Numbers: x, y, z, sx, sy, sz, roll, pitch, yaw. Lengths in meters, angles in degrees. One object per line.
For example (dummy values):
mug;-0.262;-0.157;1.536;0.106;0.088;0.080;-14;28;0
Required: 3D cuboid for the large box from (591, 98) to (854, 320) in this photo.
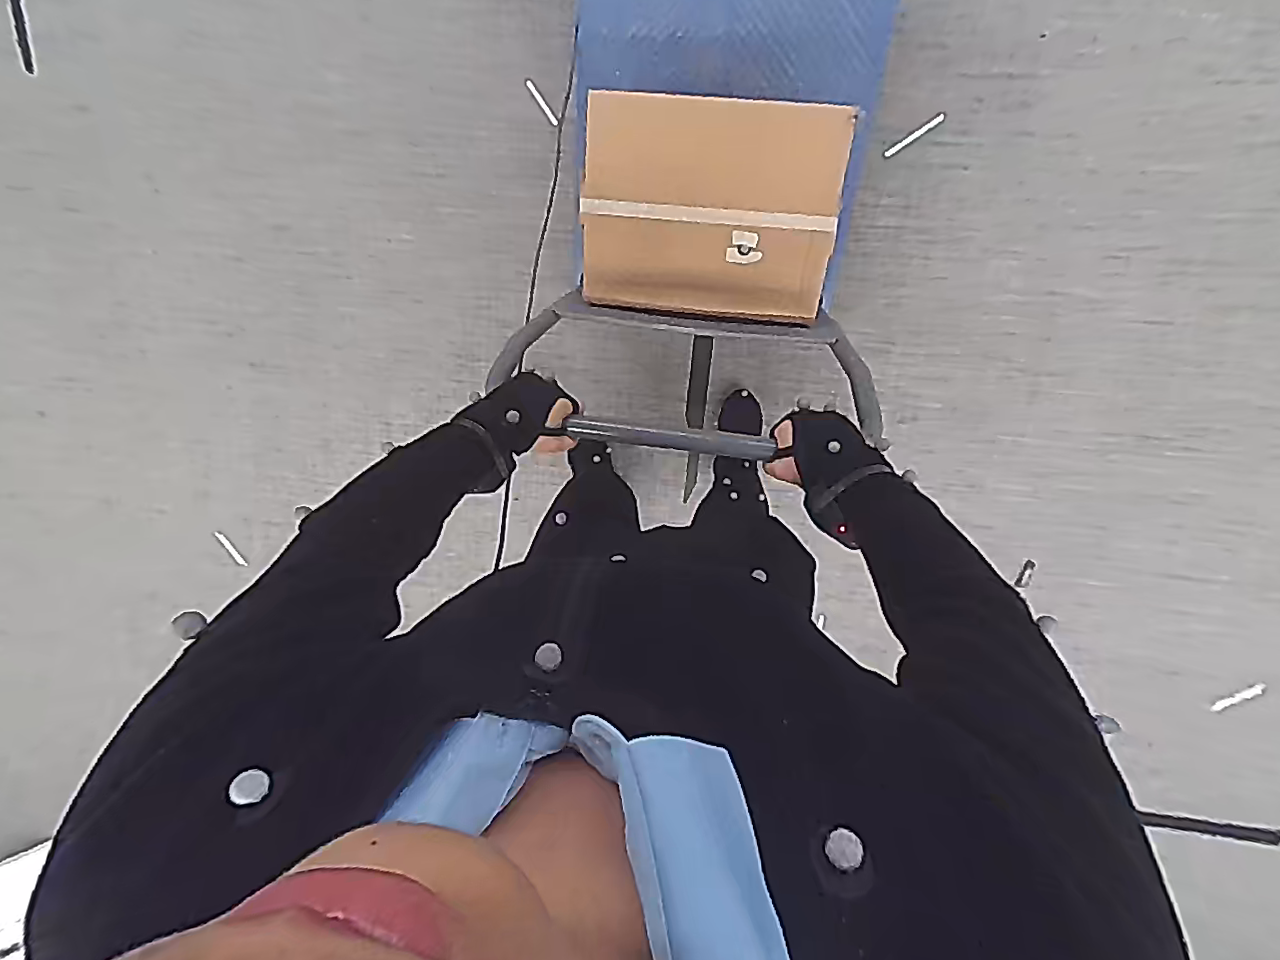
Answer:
large box;0.131;-0.497;1.021;0.408;0.320;0.320;7;117;4
